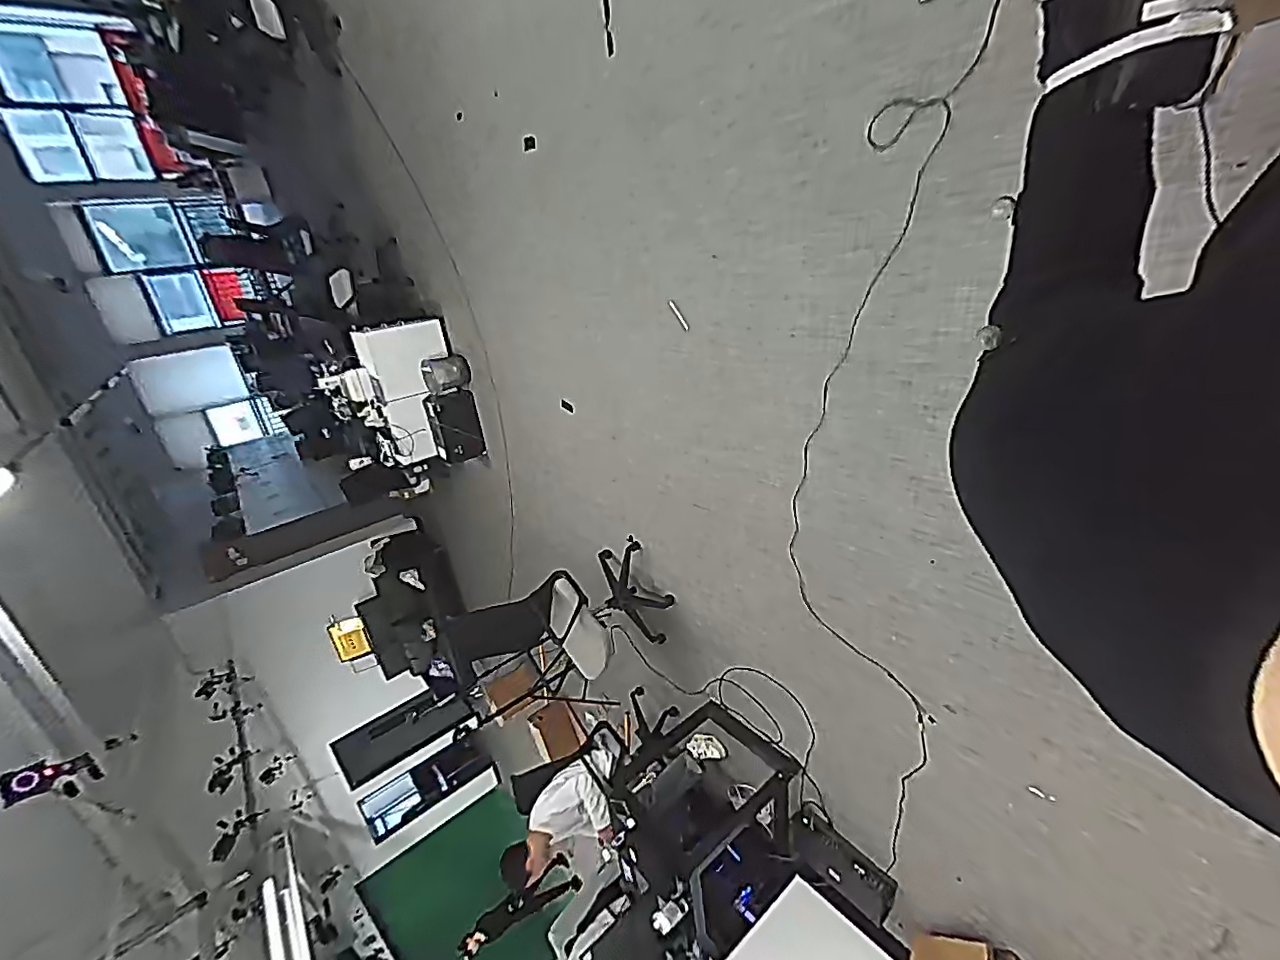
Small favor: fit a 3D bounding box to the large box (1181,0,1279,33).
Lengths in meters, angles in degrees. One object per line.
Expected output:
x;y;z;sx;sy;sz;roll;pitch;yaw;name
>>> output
0.545;-0.488;0.242;0.408;0.320;0.320;13;122;47;large box
